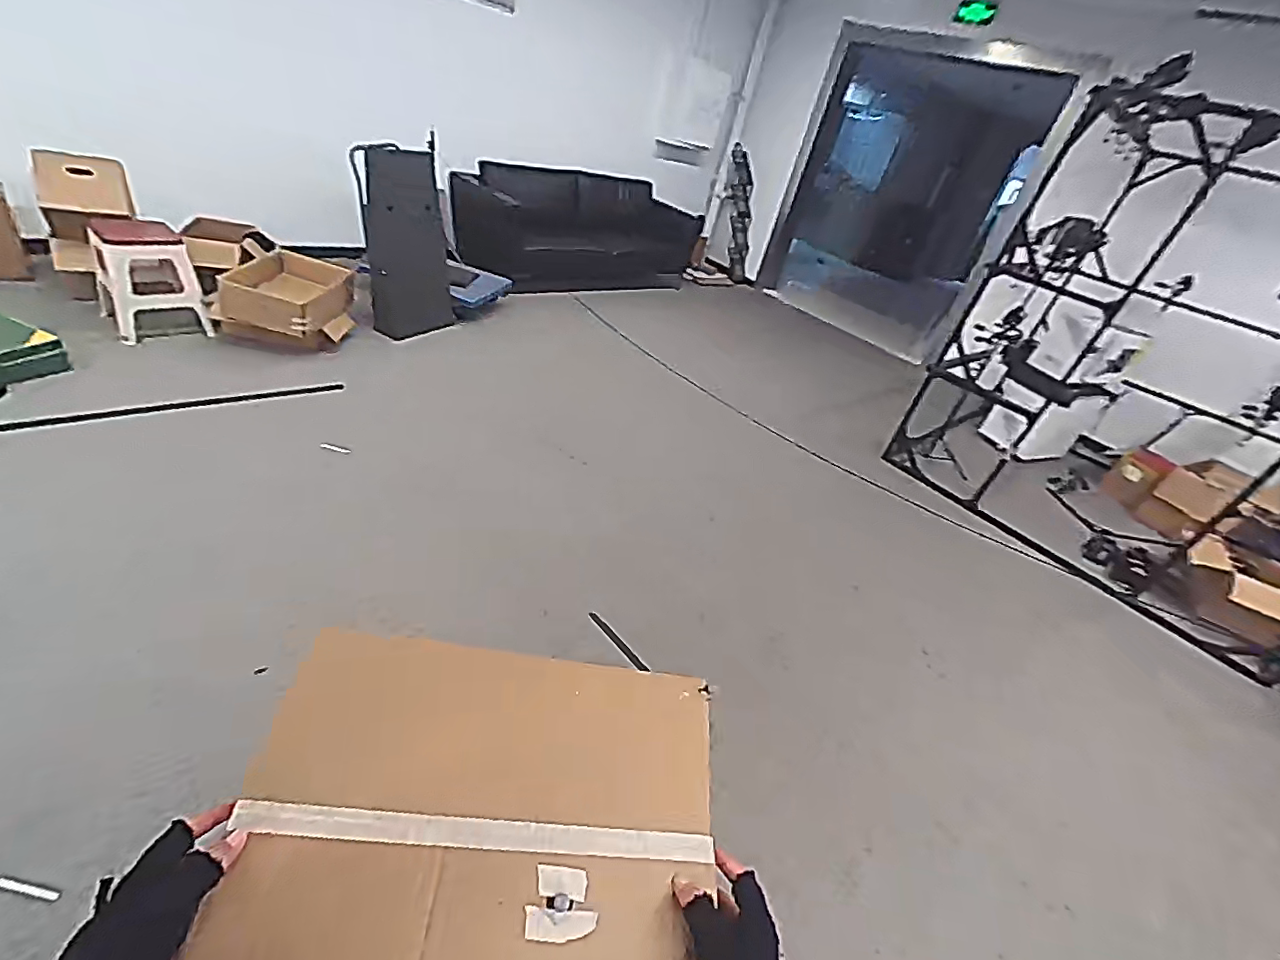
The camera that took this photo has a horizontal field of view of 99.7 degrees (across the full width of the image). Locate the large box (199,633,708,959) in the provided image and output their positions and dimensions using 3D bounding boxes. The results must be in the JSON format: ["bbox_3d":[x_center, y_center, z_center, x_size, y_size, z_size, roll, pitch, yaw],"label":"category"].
[{"bbox_3d":[-0.168,0.397,0.603,0.408,0.320,0.320,12,52,-11],"label":"large box"}]
